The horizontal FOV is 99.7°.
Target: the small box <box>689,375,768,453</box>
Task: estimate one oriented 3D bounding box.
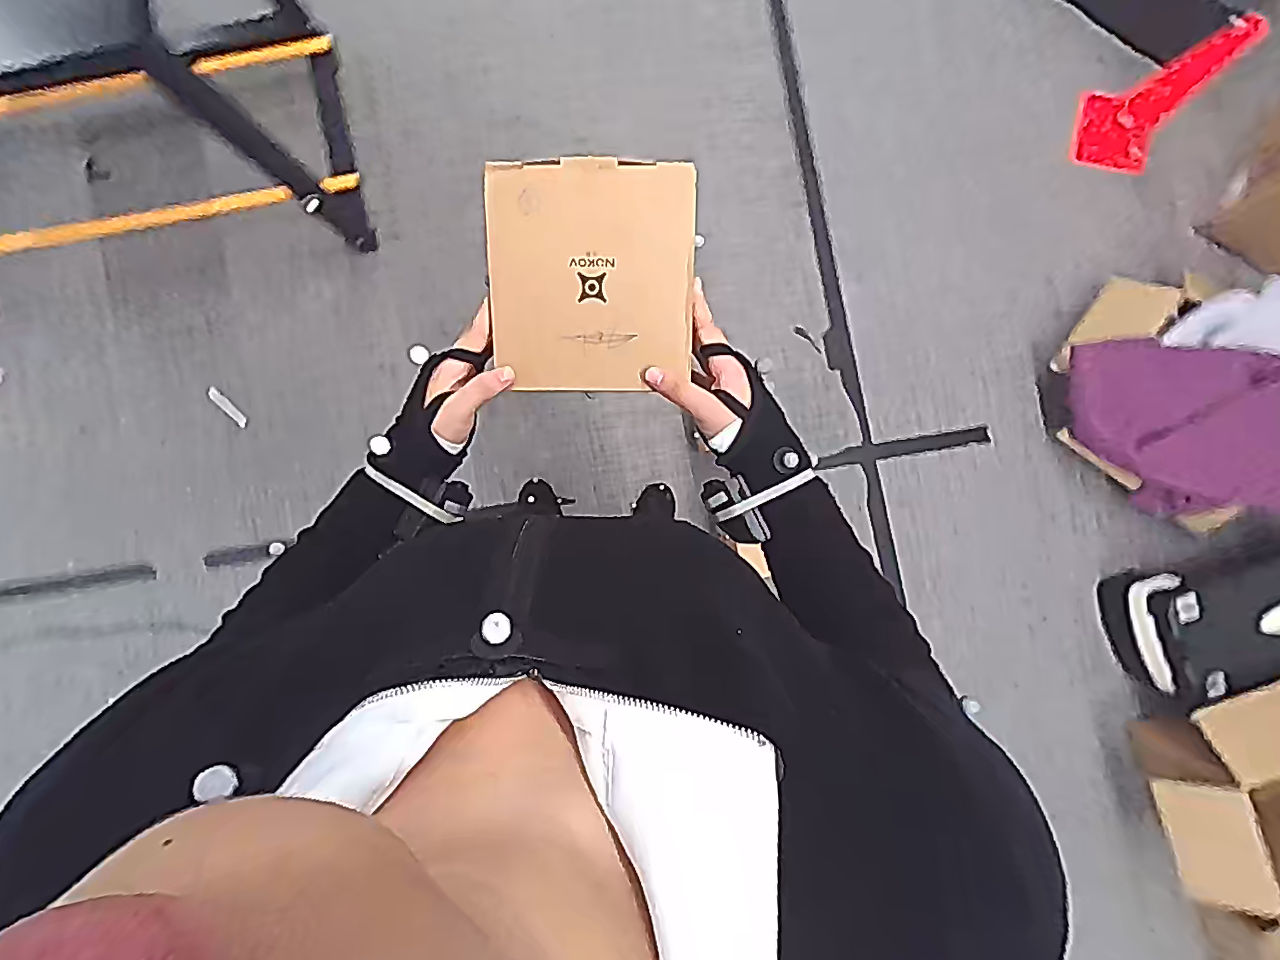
[{"bbox_3d":[0.226,-0.165,1.409,0.168,0.176,0.179,-9,90,0],"label":"small box"}]

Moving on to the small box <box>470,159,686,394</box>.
[{"bbox_3d":[-0.048,-0.174,0.502,0.168,0.176,0.179,-1,105,0],"label":"small box"}]

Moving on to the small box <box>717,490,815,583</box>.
[{"bbox_3d":[0.282,0.122,1.246,0.168,0.176,0.179,-12,91,0],"label":"small box"}]

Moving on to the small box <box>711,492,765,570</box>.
[{"bbox_3d":[0.287,0.127,1.413,0.179,0.176,0.168,-12,90,1],"label":"small box"}]
